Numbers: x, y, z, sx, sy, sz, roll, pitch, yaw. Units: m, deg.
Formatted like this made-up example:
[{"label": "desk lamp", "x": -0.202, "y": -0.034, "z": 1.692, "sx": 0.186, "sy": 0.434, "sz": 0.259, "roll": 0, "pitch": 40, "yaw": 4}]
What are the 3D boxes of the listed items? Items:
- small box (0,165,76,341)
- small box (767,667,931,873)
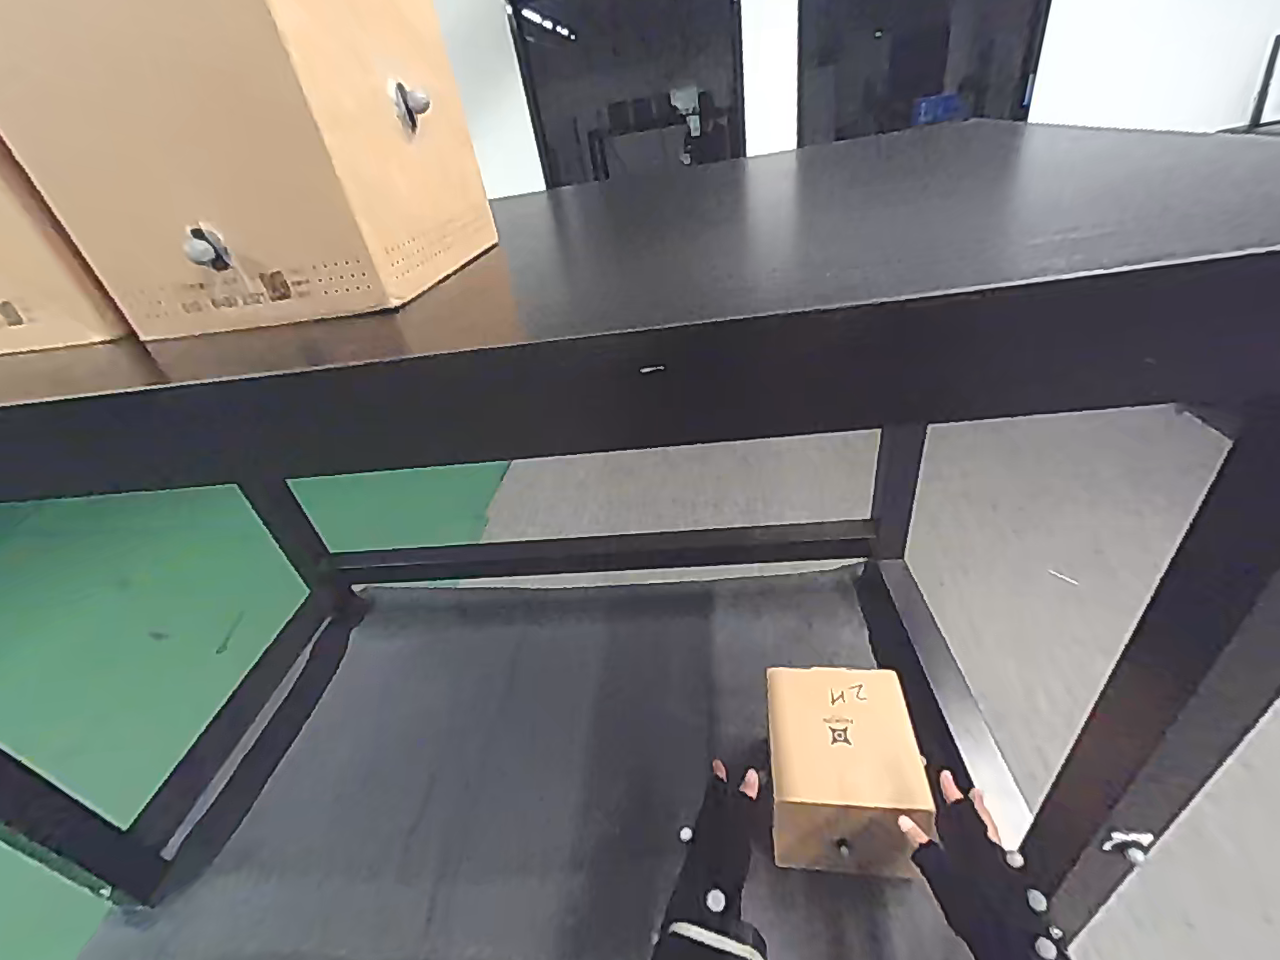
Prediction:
[{"label": "small box", "x": -0.594, "y": -0.173, "z": 0.399, "sx": 0.168, "sy": 0.176, "sz": 0.179, "roll": -3, "pitch": 35, "yaw": 10}, {"label": "small box", "x": 0.251, "y": 0.365, "z": 0.689, "sx": 0.168, "sy": 0.176, "sz": 0.179, "roll": -2, "pitch": 34, "yaw": 11}]
